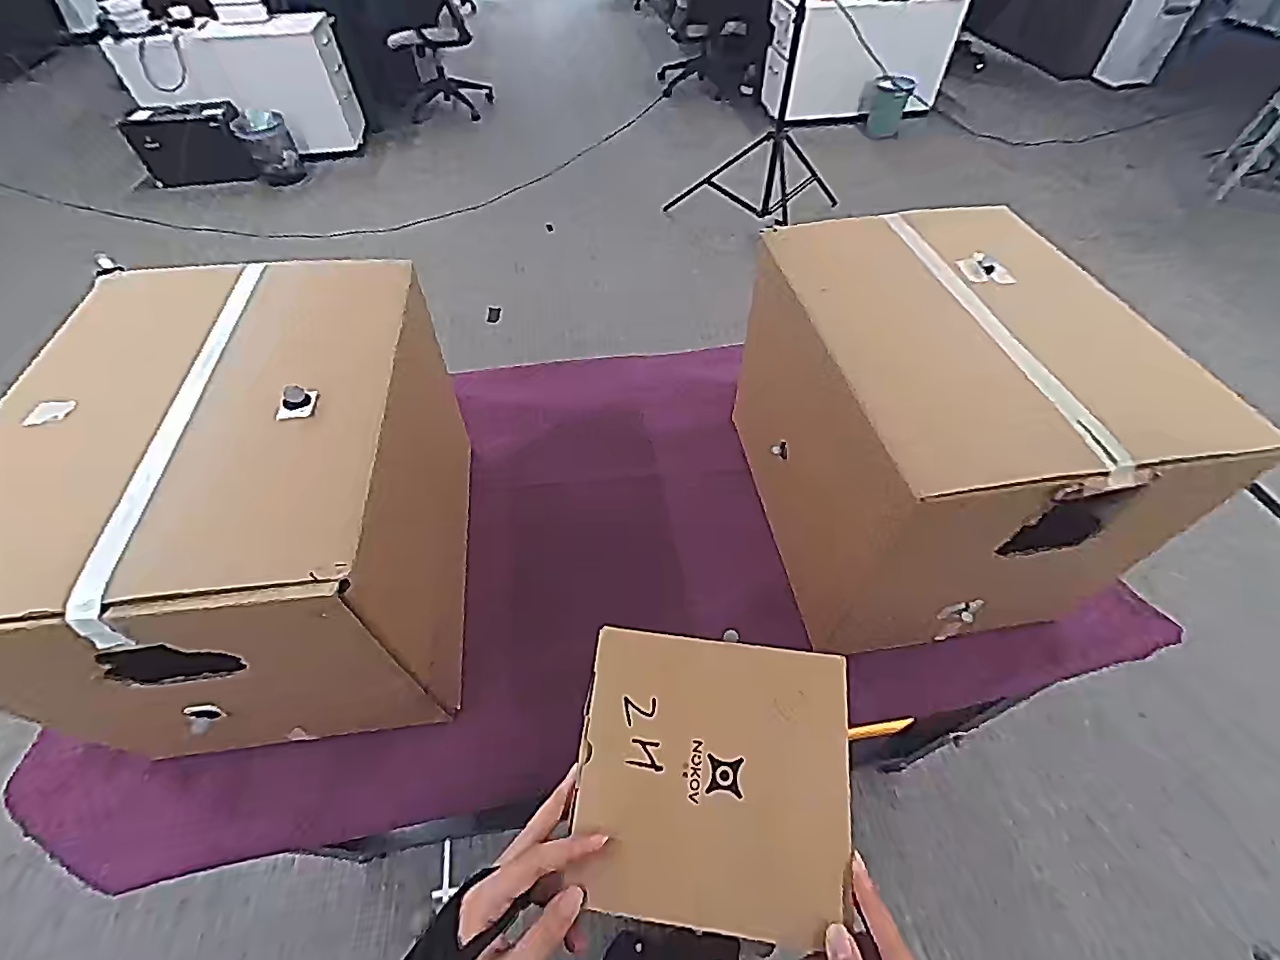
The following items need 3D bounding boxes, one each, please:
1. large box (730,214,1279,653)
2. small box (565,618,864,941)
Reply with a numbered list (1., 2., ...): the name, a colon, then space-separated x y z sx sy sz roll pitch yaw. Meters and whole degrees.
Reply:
1. large box: 0.320 -0.060 0.642 0.320 0.320 0.408 -7 50 -6
2. small box: 0.055 0.213 0.417 0.179 0.176 0.168 4 64 6
